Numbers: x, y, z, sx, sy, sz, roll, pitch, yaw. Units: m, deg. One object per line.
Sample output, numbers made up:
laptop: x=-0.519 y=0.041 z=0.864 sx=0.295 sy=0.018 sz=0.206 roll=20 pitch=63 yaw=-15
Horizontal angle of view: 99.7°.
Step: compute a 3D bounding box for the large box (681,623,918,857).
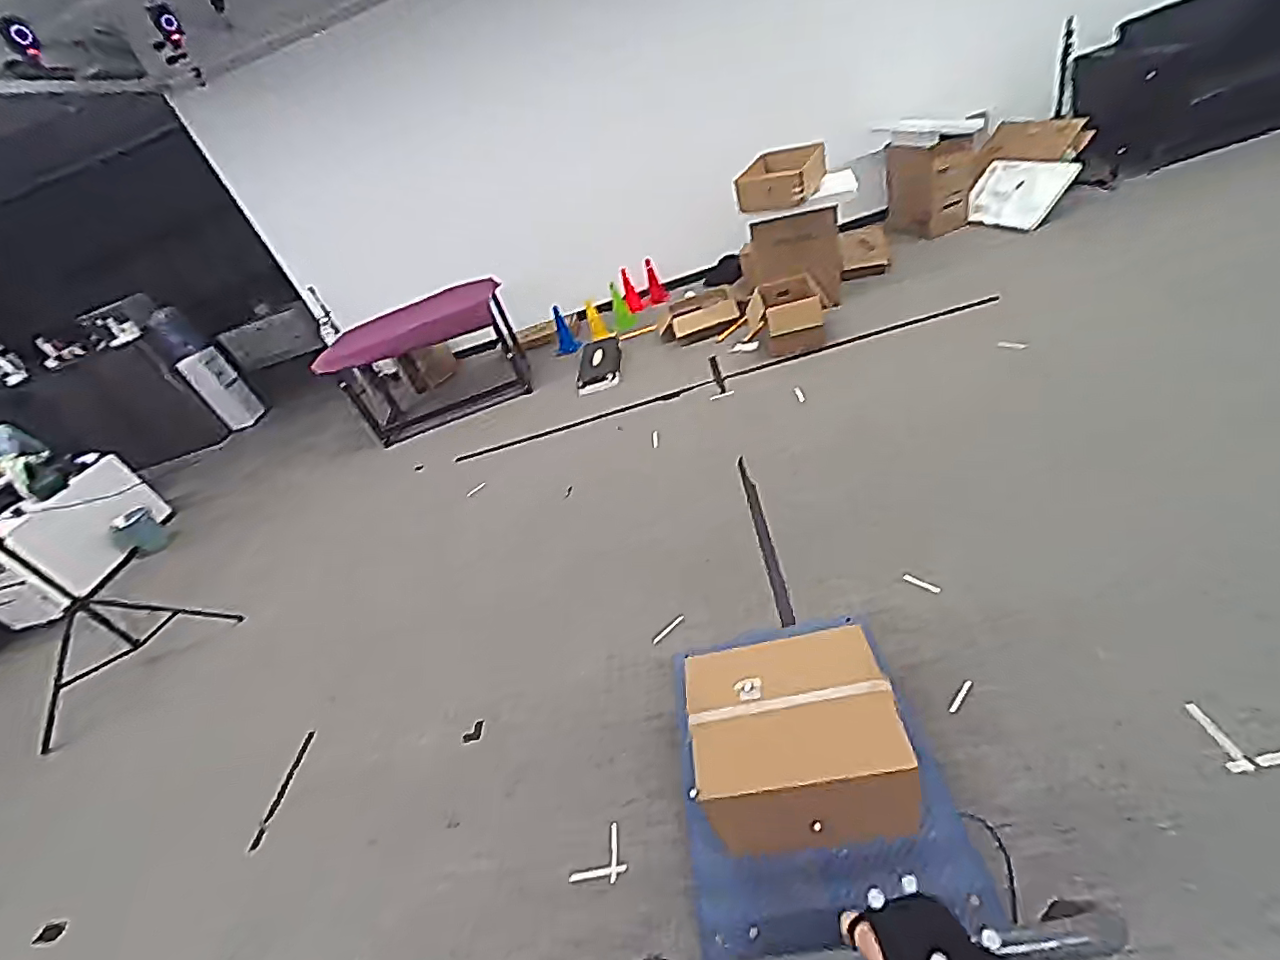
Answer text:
large box: x=0.335 y=0.569 z=1.178 sx=0.408 sy=0.320 sz=0.320 roll=-16 pitch=34 yaw=10
